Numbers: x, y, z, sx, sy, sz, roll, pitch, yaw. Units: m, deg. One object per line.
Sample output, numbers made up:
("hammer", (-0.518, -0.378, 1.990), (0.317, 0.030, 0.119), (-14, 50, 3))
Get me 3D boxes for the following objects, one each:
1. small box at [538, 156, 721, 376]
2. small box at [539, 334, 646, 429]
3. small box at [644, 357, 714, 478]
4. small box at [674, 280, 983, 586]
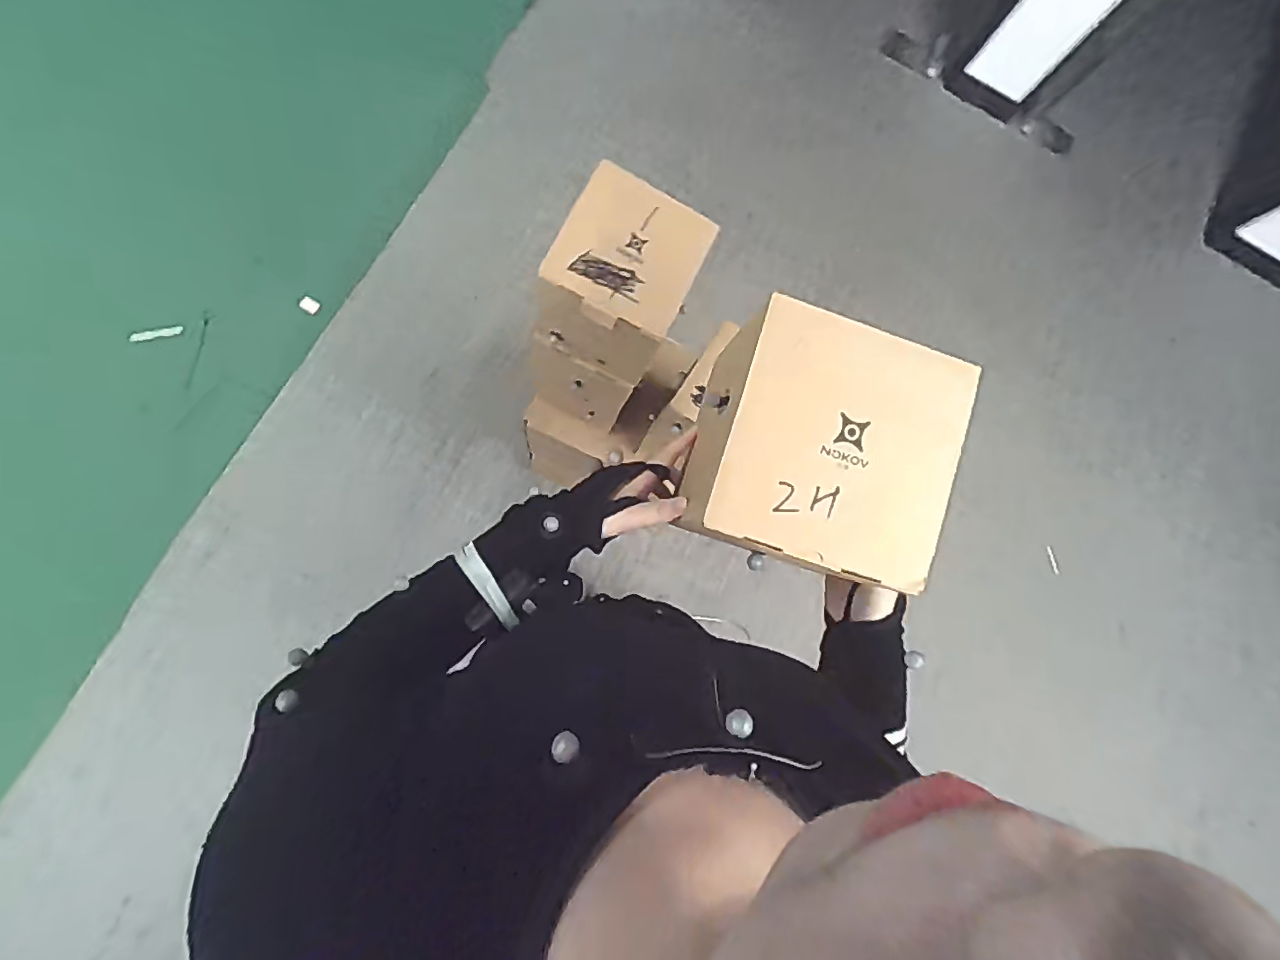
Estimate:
("small box", (-0.021, -0.265, 0.714), (0.168, 0.176, 0.179), (27, 77, -6))
("small box", (-0.078, -0.220, 1.034), (0.168, 0.176, 0.179), (29, 77, -6))
("small box", (0.122, -0.098, 1.044), (0.168, 0.176, 0.179), (33, 77, -1))
("small box", (0.136, -0.029, 0.453), (0.168, 0.176, 0.179), (18, 86, -4))
